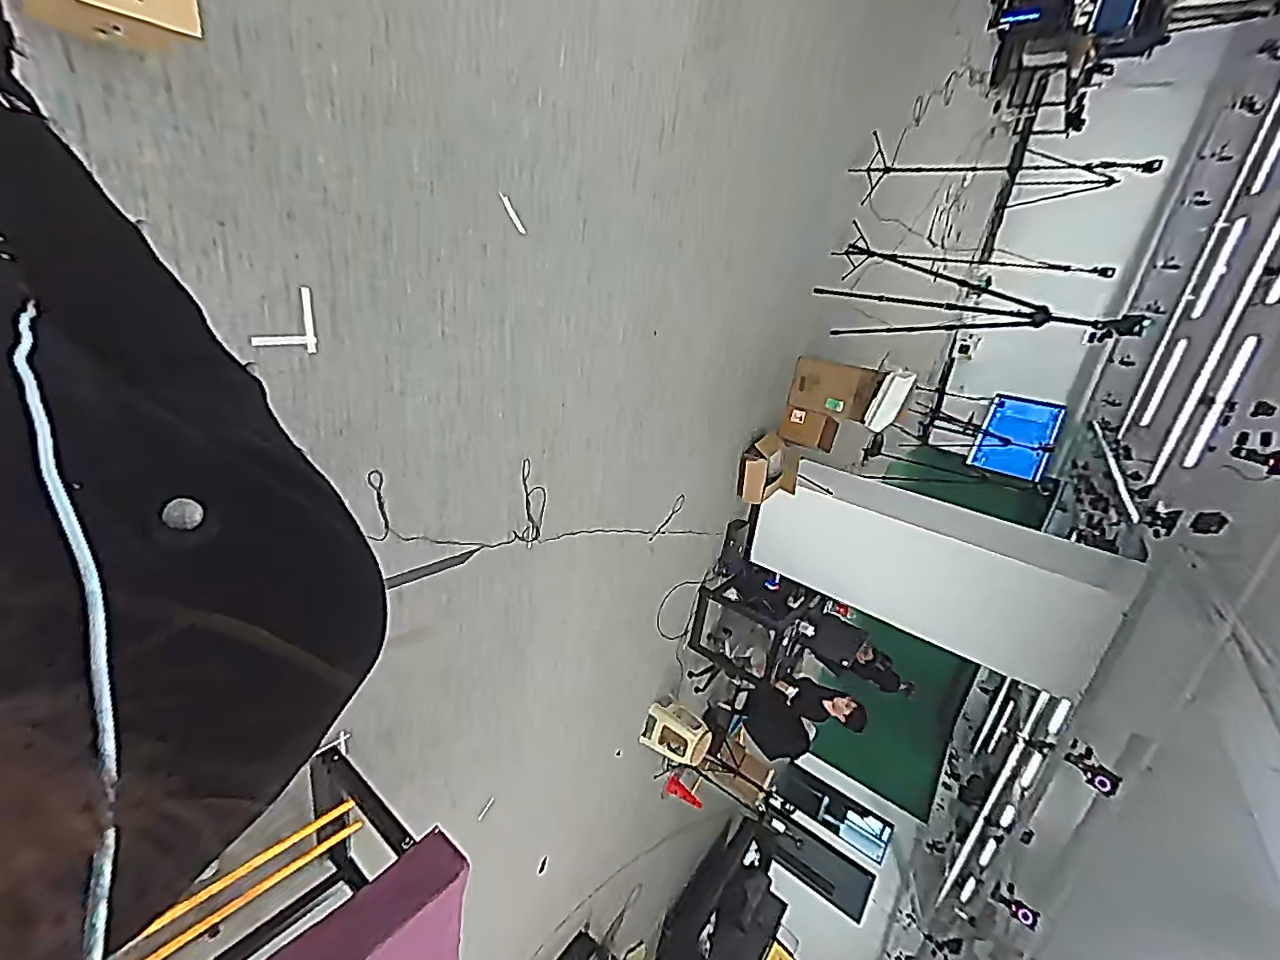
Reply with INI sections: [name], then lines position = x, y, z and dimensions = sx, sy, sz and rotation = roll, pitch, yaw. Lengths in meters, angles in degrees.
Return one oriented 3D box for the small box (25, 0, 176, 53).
[small box]
position = -0.984, -0.900, 0.972
dimensions = 0.179, 0.176, 0.168
rotation = -21, 125, -50
